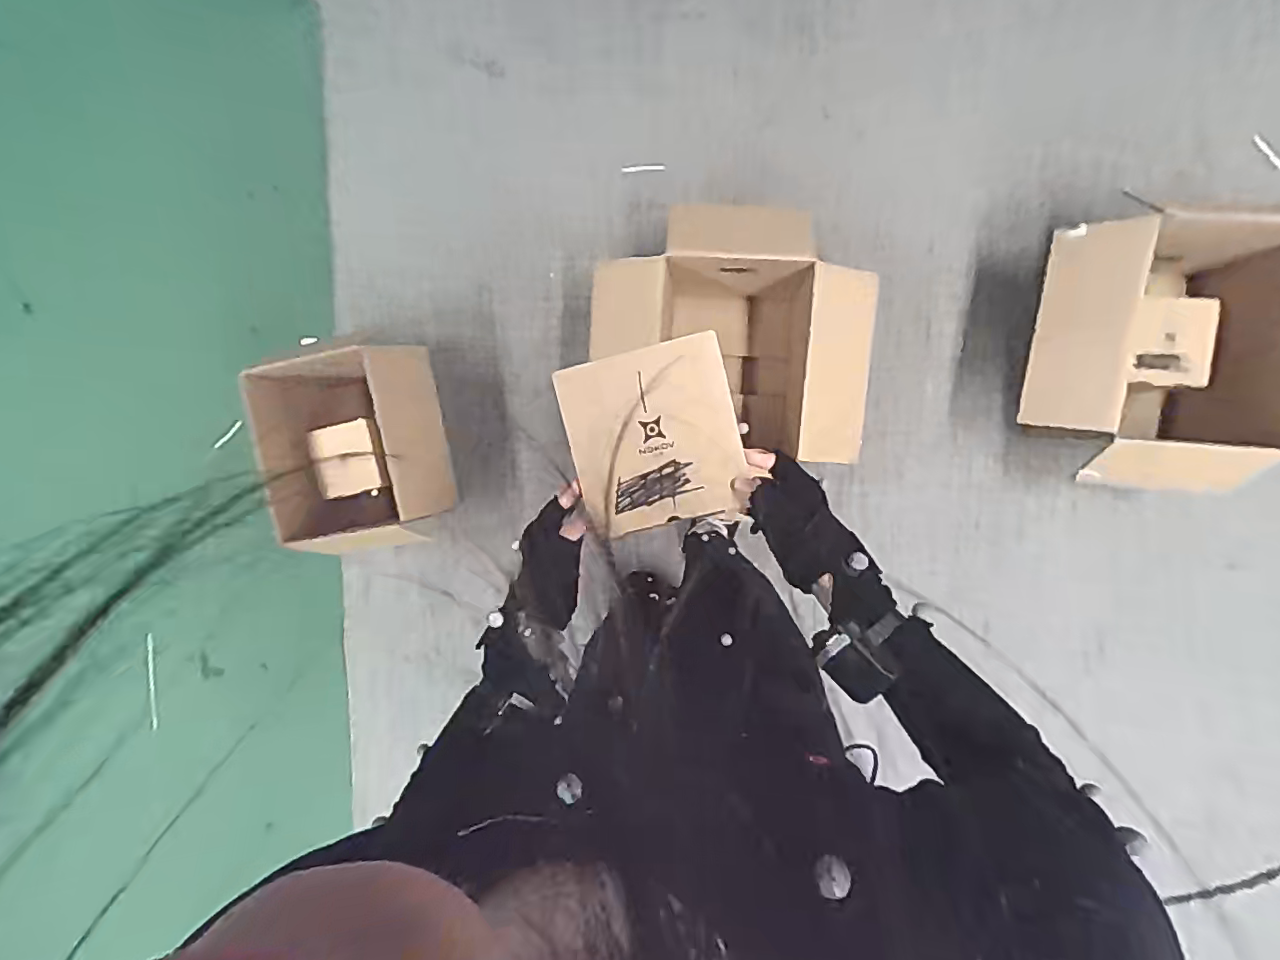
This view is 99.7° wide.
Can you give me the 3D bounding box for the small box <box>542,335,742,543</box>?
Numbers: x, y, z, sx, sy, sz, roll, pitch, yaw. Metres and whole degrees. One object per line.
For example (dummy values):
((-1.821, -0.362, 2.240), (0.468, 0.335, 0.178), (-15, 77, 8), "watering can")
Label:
((0.010, -0.047, 0.602), (0.168, 0.176, 0.179), (-14, 95, 6), "small box")
